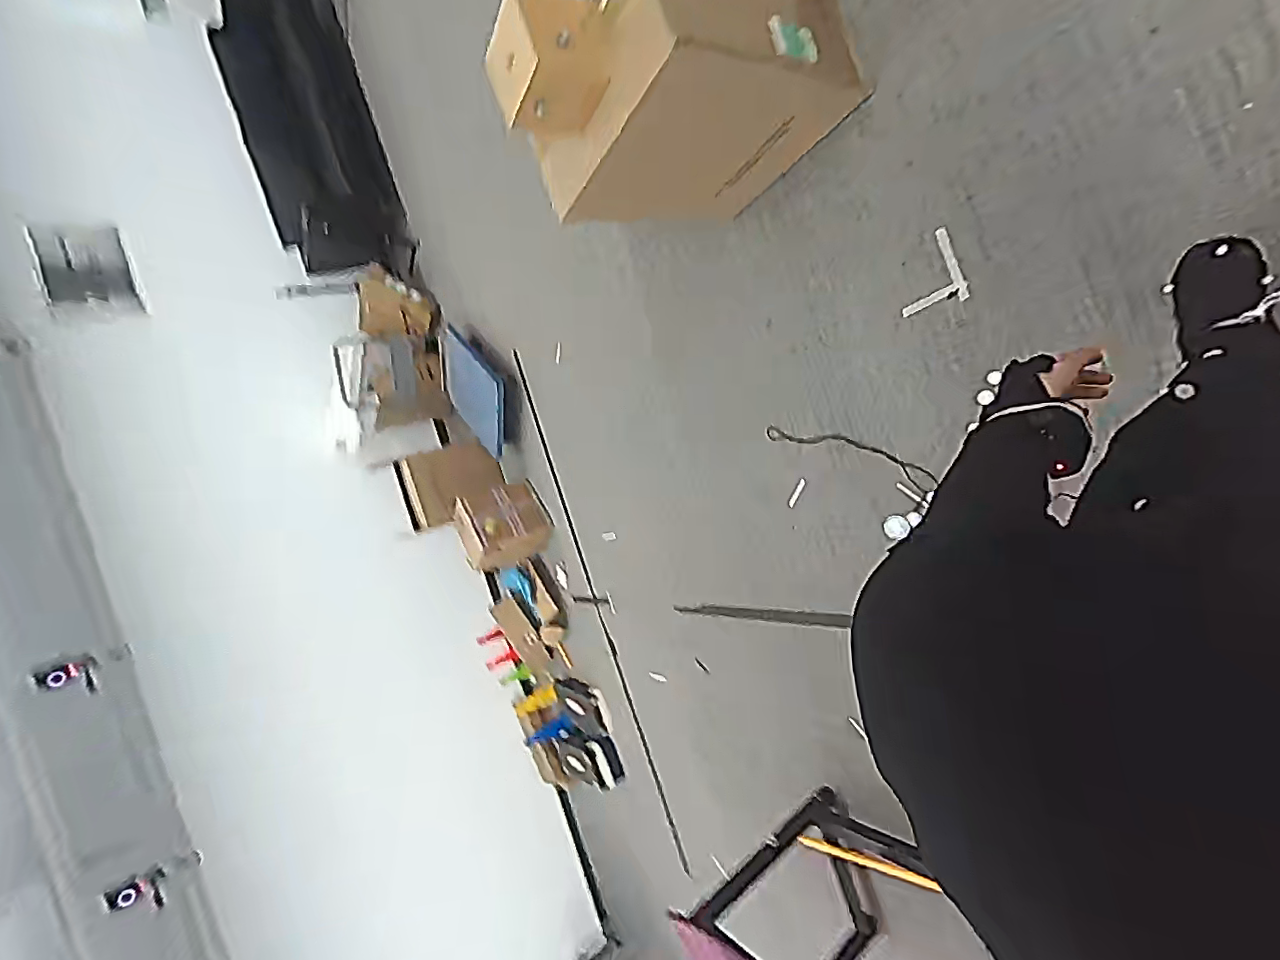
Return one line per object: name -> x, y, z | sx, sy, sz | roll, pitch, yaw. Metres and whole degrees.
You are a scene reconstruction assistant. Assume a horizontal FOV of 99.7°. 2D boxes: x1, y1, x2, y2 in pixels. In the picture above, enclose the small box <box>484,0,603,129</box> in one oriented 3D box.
small box -> -0.192, -0.852, 1.100 | 0.179, 0.176, 0.168 | -20, 89, 58
